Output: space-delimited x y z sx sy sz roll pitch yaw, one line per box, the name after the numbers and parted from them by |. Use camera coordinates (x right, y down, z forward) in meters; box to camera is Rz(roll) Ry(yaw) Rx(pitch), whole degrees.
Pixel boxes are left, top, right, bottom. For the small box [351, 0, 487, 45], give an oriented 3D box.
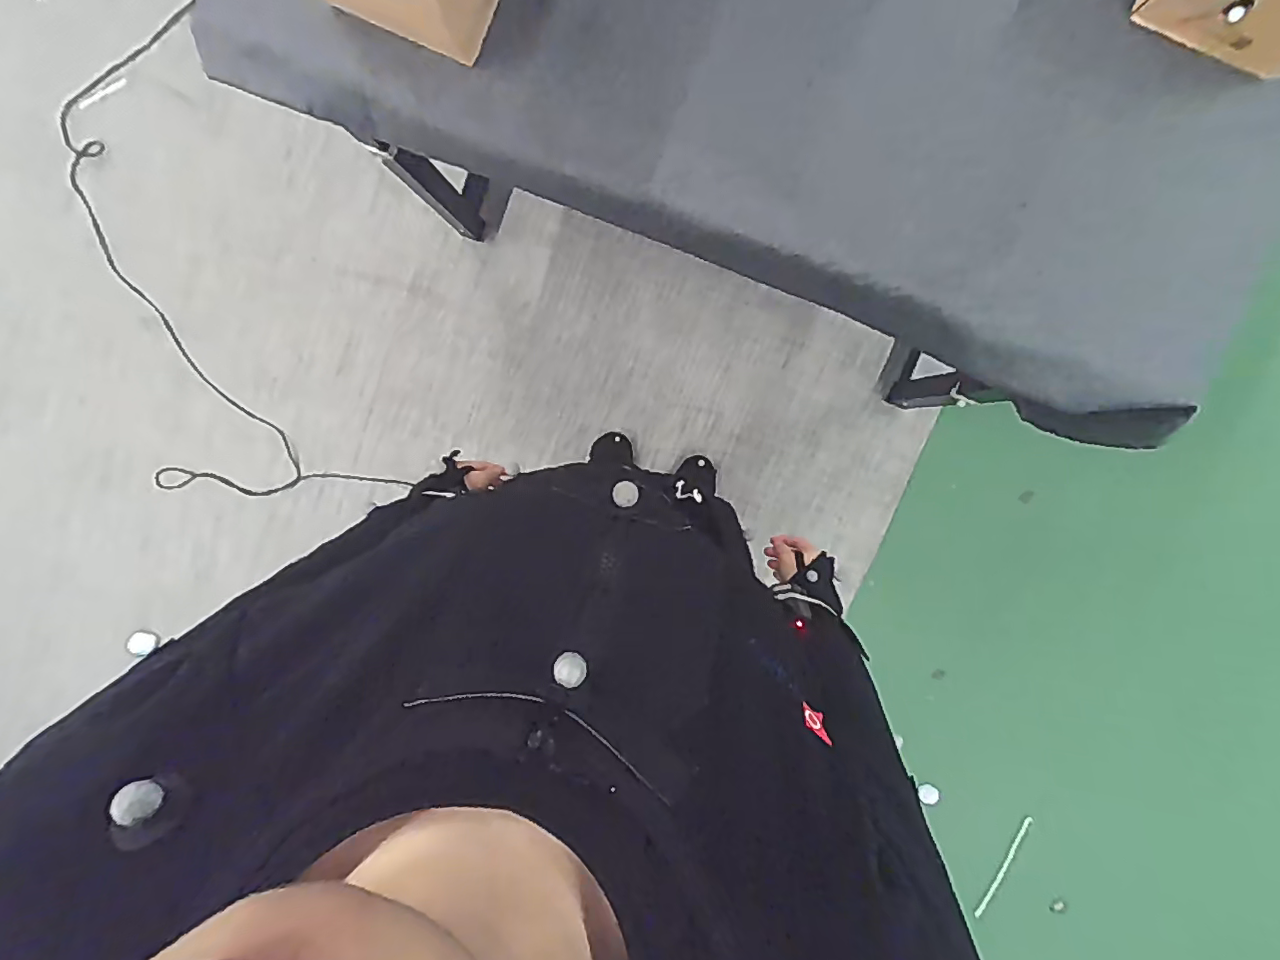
-0.229 -0.562 0.502 0.179 0.176 0.168 24 95 -1 | small box

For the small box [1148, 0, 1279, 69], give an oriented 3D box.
0.619 -0.524 0.472 0.168 0.176 0.179 24 99 0 | small box
